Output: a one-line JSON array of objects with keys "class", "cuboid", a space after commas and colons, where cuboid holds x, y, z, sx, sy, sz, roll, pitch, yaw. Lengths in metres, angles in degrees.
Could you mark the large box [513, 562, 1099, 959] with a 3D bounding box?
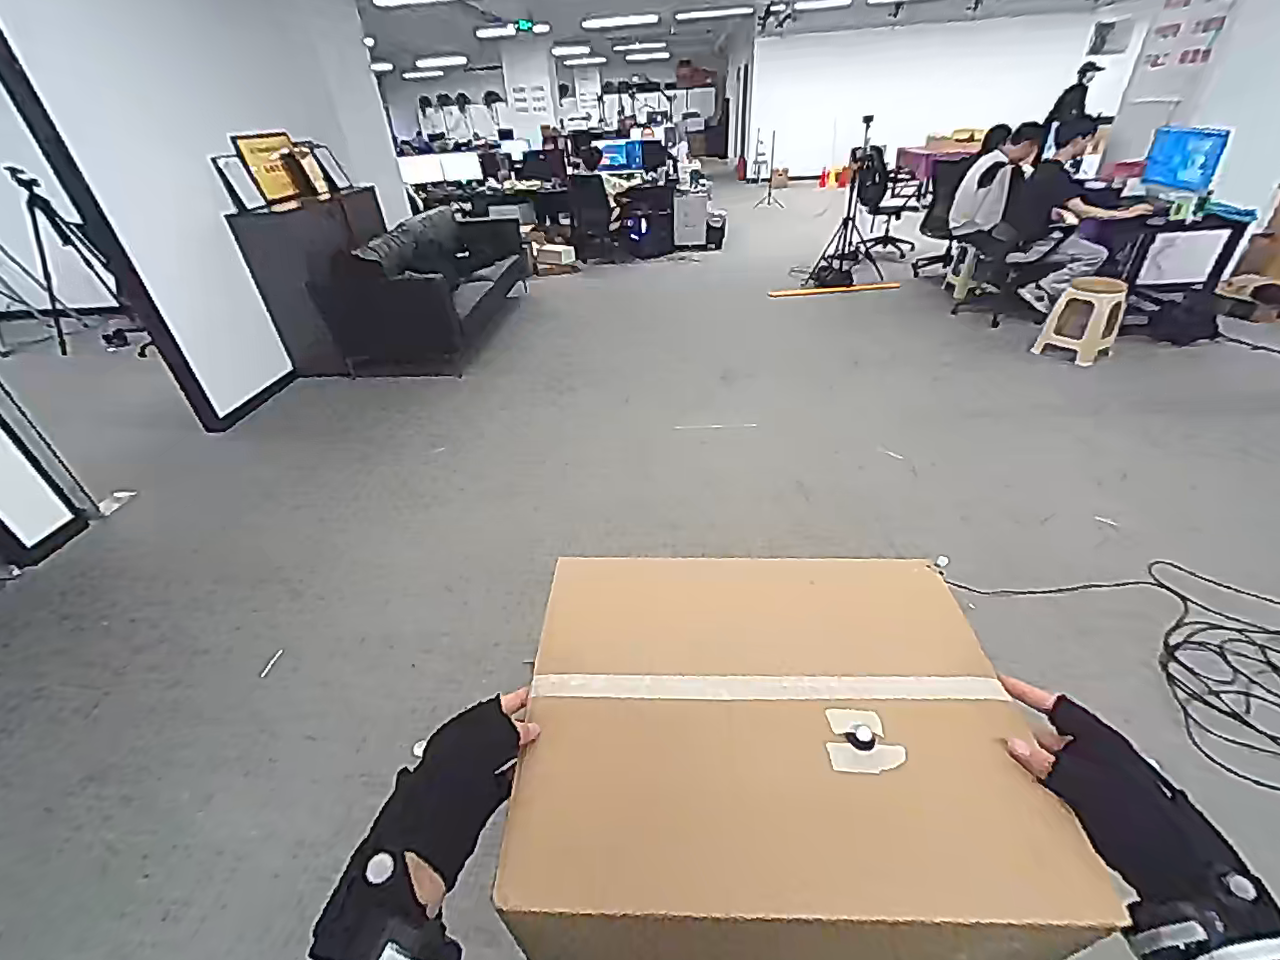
[{"class": "large box", "cuboid": [0.113, 0.305, 0.569, 0.408, 0.320, 0.320, -1, 38, 2]}]
